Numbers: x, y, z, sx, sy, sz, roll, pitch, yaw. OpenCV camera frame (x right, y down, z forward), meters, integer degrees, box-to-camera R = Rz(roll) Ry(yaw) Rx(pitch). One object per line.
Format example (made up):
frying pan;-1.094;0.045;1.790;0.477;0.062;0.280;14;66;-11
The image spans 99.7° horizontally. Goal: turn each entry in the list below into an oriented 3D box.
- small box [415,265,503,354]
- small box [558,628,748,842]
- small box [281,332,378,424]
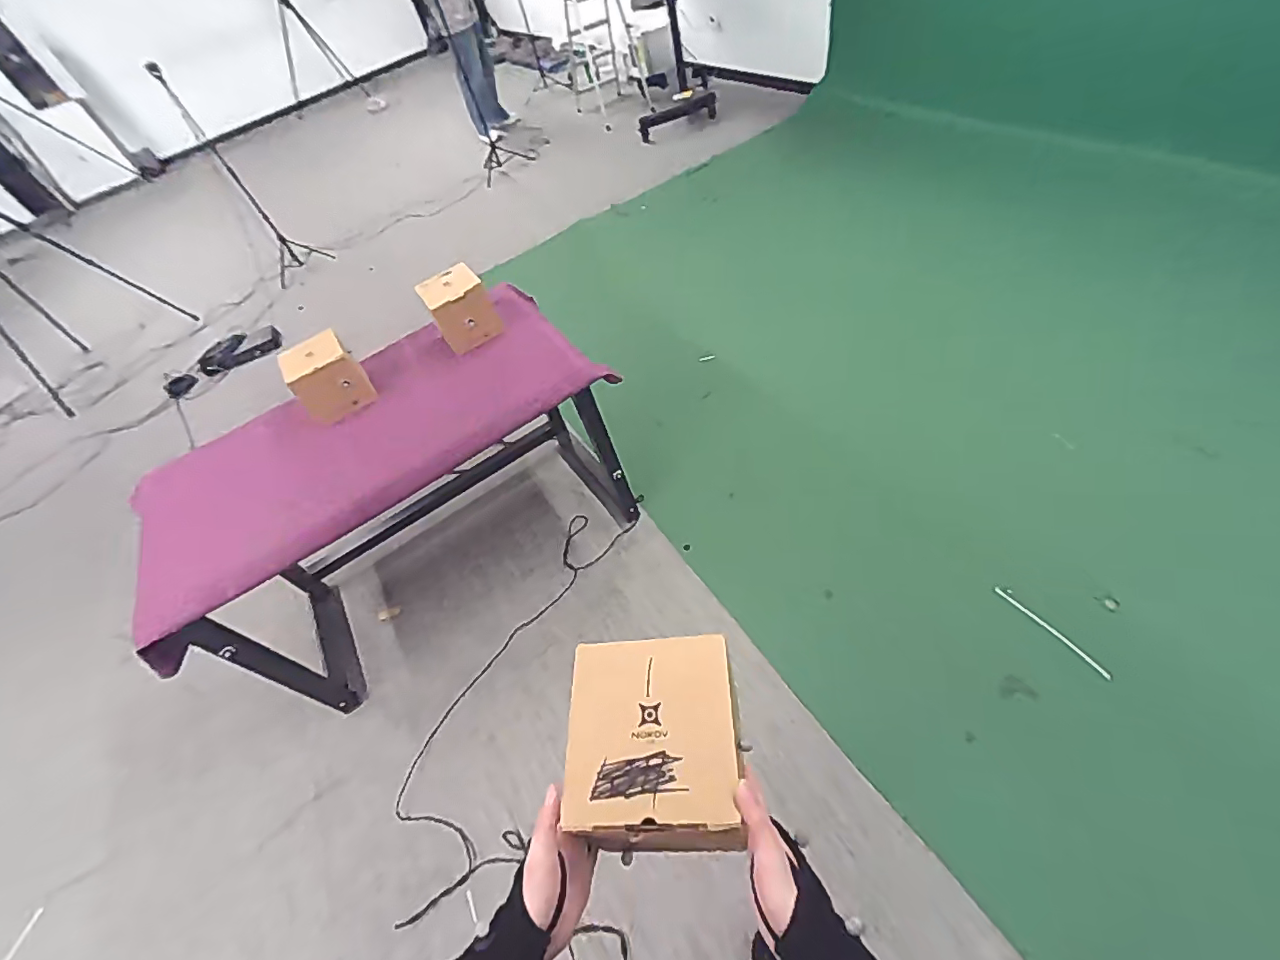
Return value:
small box;-0.535;-0.503;1.614;0.168;0.176;0.179;-33;51;-11
small box;0.022;0.283;0.588;0.168;0.176;0.179;-8;48;9
small box;-0.881;-0.284;1.543;0.168;0.176;0.179;-33;51;-12
